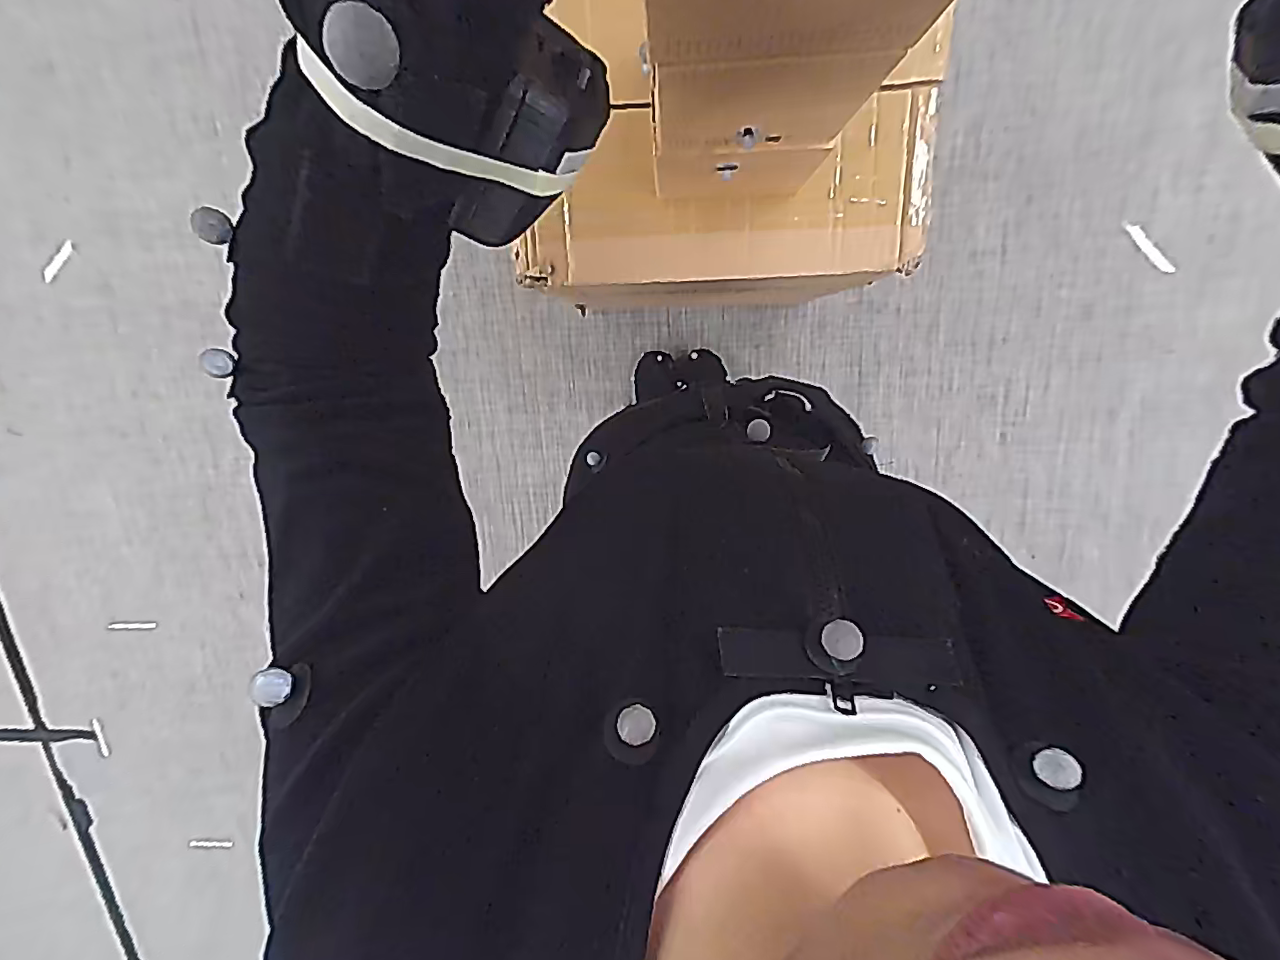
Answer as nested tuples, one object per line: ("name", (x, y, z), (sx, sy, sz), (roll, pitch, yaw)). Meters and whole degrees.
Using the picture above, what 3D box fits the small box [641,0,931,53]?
("small box", (0.084, -0.337, 0.253), (0.179, 0.176, 0.168), (-1, 105, 4))

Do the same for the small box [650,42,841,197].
("small box", (0.101, -0.412, 0.574), (0.179, 0.176, 0.168), (-1, 104, 3))
